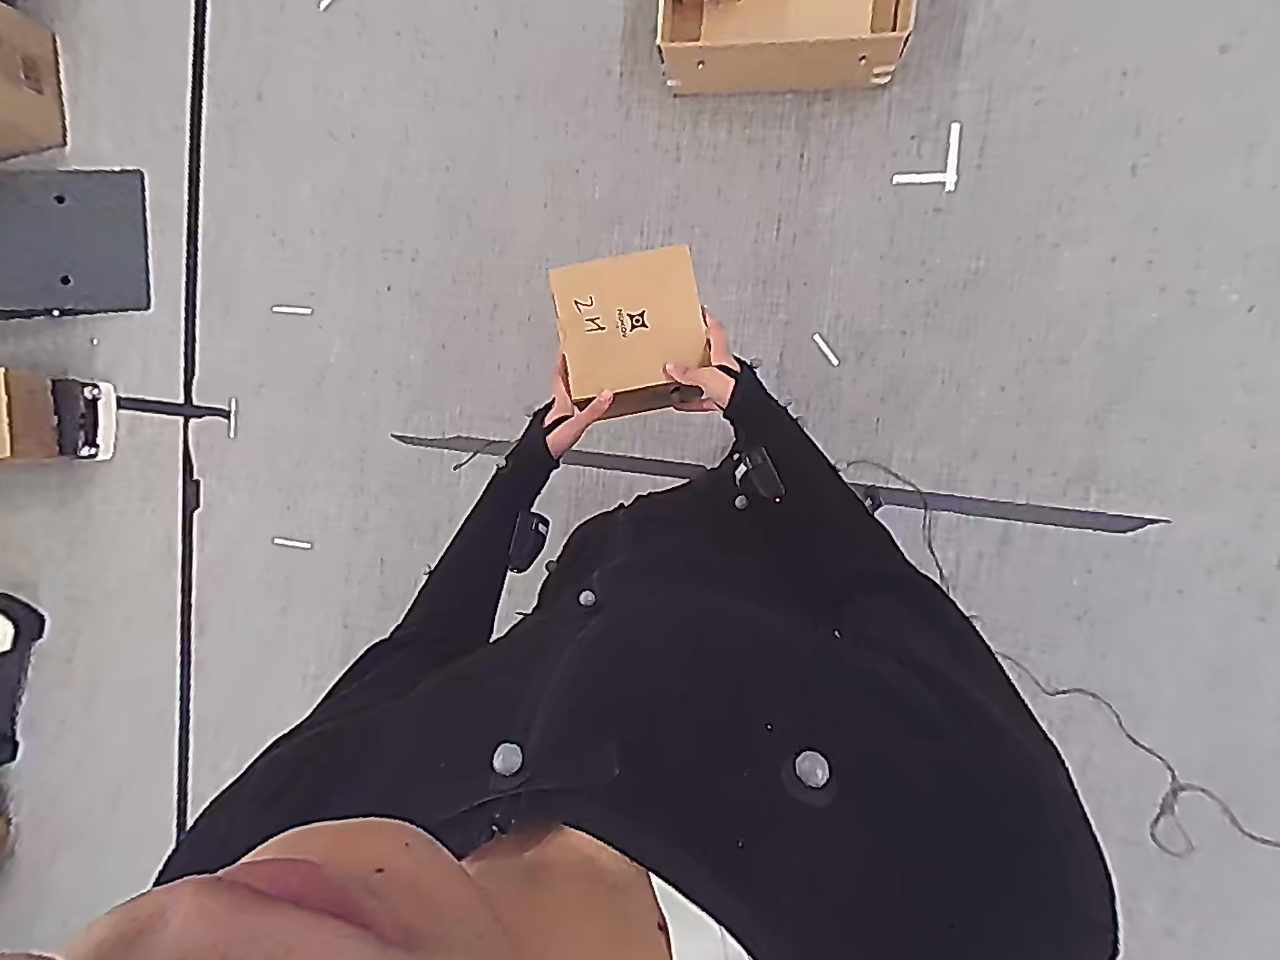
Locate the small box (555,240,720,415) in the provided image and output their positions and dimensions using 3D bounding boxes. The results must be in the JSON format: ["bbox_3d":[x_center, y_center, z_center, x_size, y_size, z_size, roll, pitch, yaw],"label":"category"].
[{"bbox_3d":[-0.003,-0.189,0.719,0.179,0.176,0.168,-10,88,1],"label":"small box"}]
